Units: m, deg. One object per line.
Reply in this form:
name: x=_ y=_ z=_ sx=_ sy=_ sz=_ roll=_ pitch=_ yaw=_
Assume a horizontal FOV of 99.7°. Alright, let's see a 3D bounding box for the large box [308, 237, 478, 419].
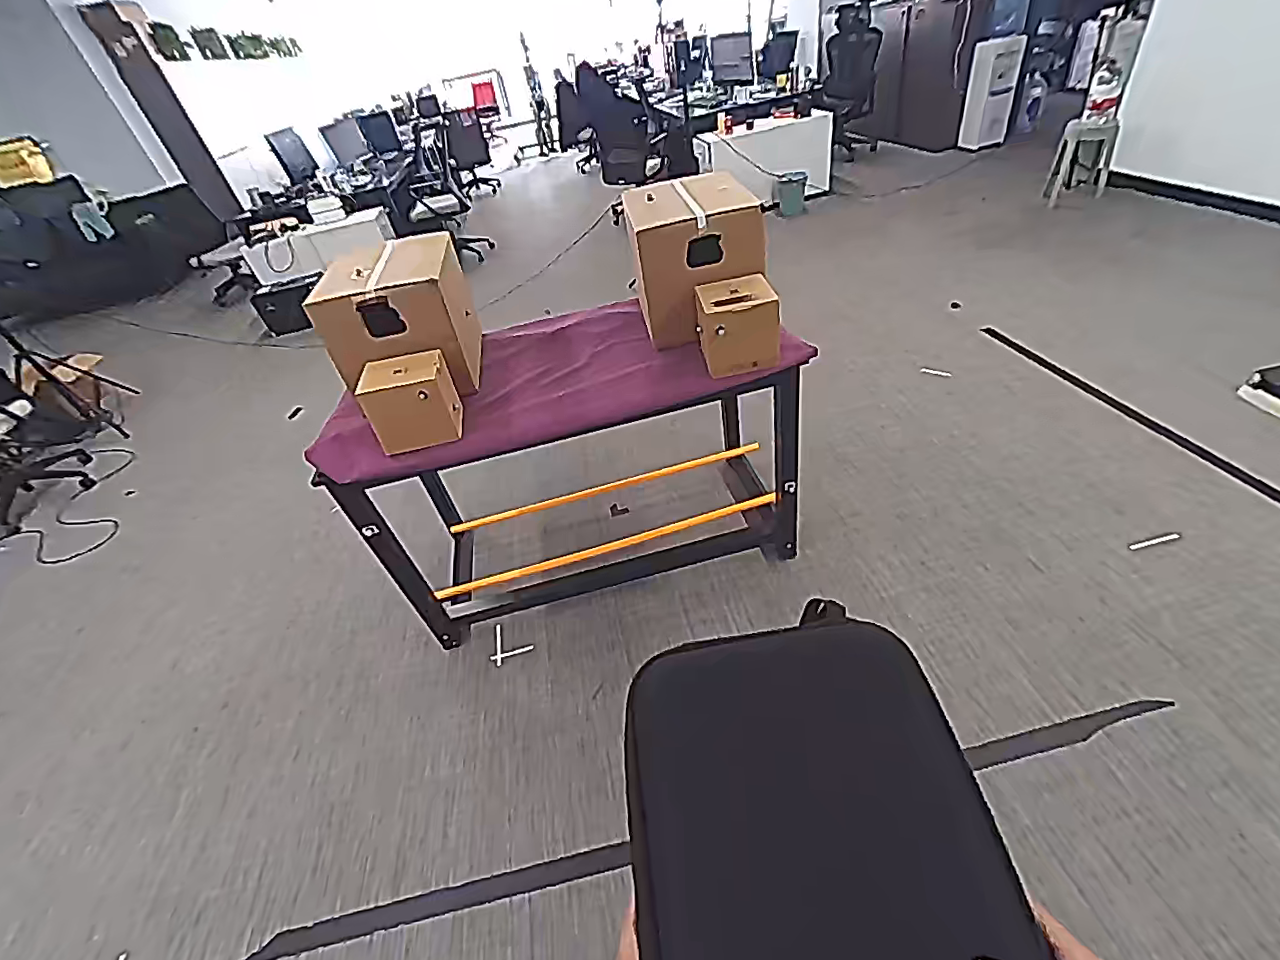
large box: x=-0.642 y=-0.427 z=1.493 sx=0.320 sy=0.320 sz=0.408 roll=-14 pitch=42 yaw=-4
